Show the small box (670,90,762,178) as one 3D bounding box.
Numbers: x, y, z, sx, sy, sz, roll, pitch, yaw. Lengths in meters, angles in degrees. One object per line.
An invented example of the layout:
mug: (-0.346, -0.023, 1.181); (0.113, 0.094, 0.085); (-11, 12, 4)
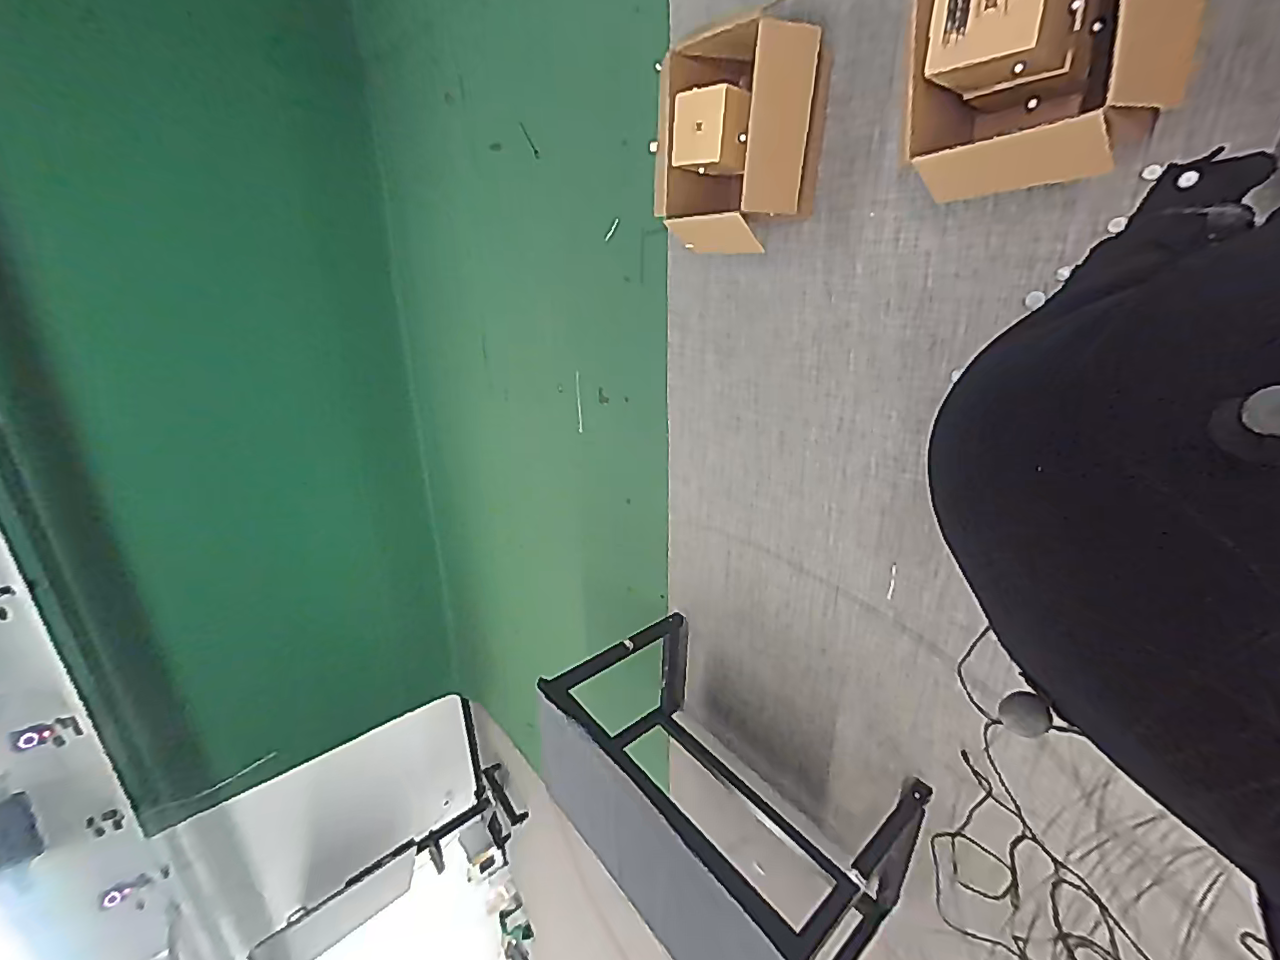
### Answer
small box: (0.202, -0.911, 1.437); (0.179, 0.176, 0.168); (25, 121, 43)
